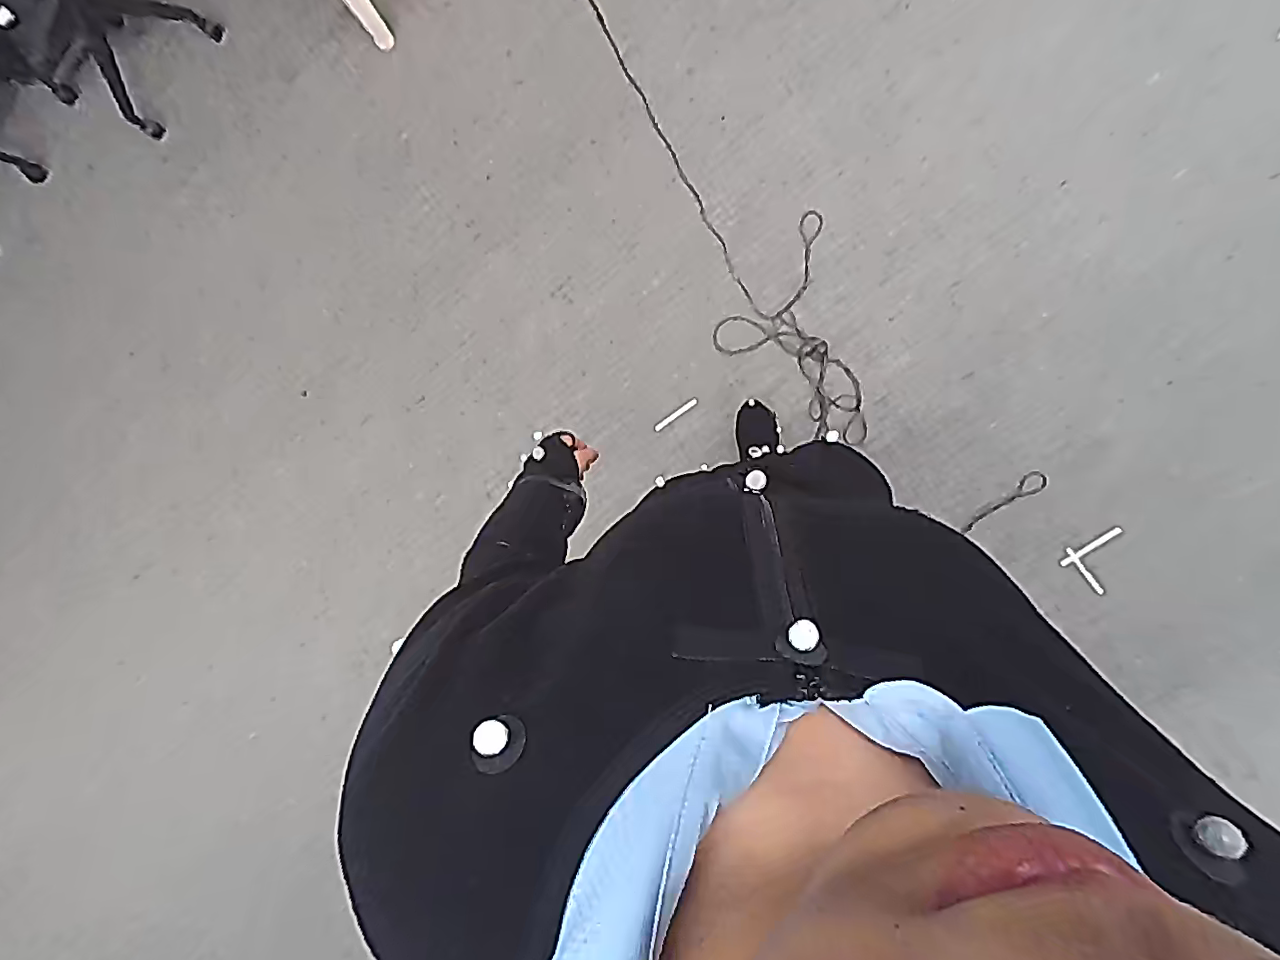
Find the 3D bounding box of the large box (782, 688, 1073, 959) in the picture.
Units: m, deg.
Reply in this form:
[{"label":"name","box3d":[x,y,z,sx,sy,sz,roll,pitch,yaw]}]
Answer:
[{"label":"large box","box3d":[0.563,0.730,1.154,0.408,0.320,0.320,-37,86,12]}]
